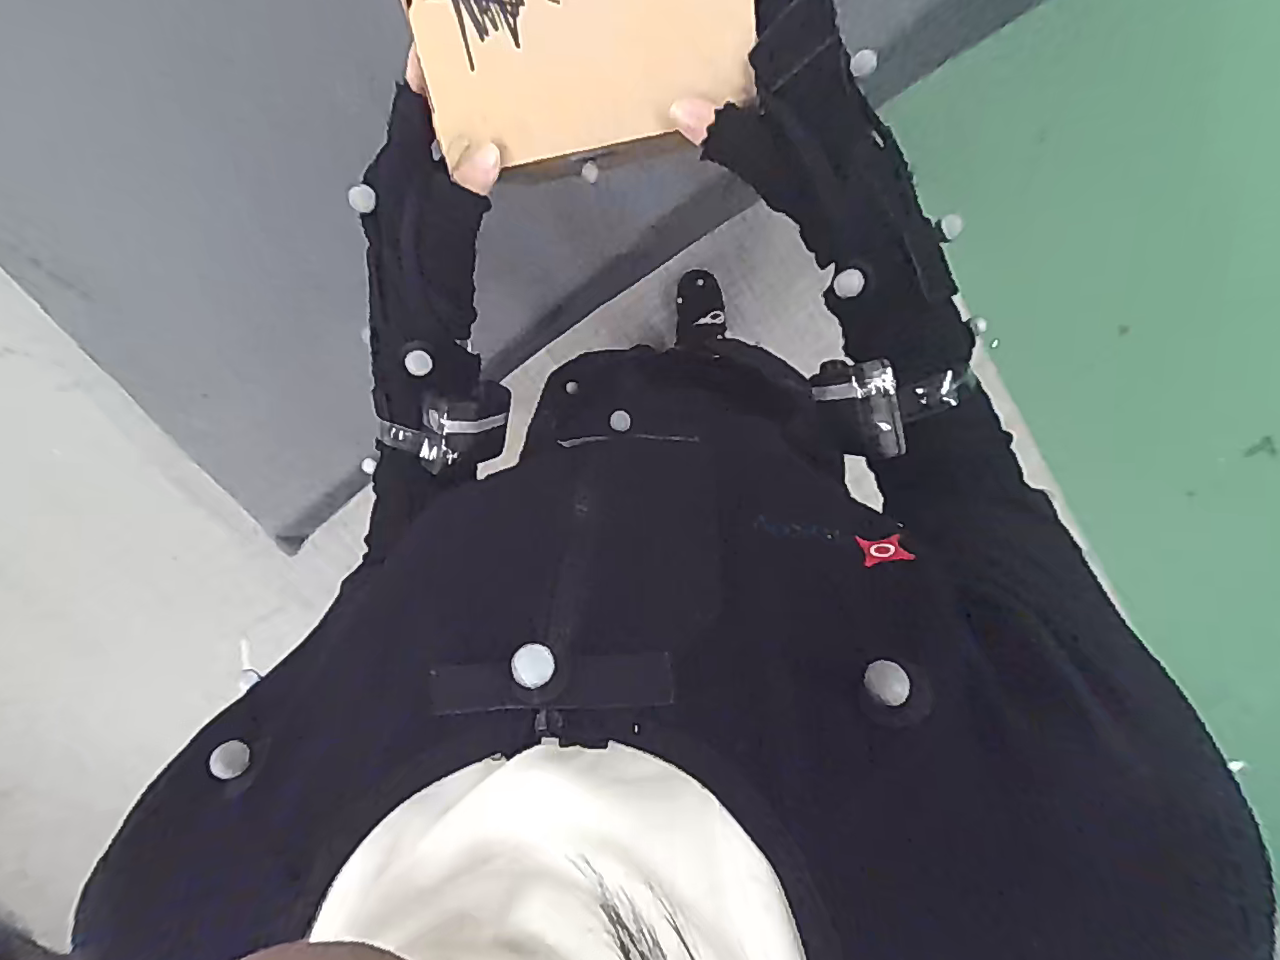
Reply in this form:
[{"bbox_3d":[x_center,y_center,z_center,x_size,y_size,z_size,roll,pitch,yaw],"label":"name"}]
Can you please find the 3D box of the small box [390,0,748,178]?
[{"bbox_3d":[-0.035,-0.289,0.326,0.179,0.176,0.168,-7,117,7],"label":"small box"}]
